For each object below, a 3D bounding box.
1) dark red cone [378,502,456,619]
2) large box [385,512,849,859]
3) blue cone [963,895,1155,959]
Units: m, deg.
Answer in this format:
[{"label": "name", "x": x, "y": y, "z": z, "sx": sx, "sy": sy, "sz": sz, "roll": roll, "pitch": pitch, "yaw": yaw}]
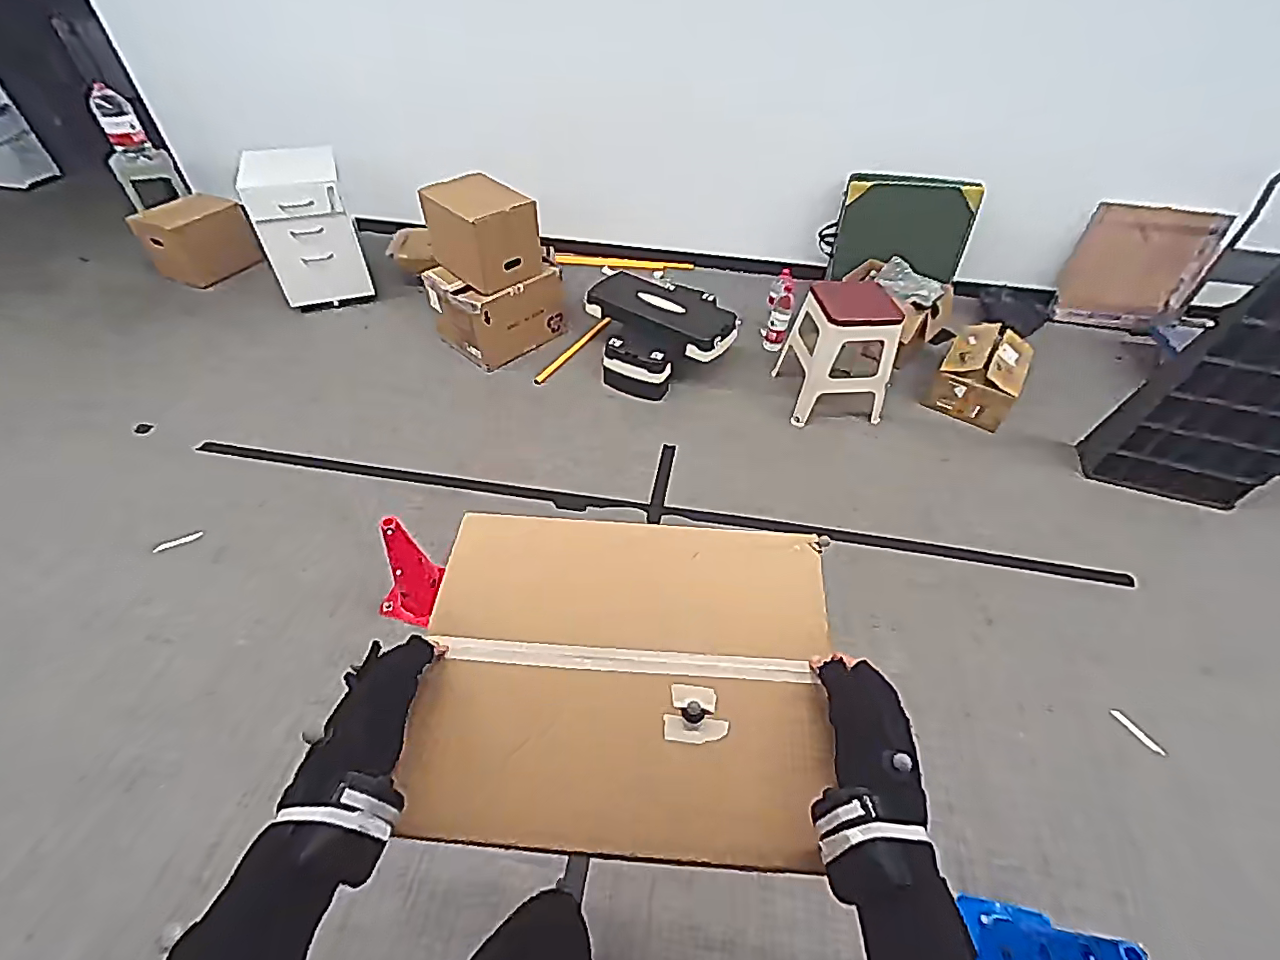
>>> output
[{"label": "dark red cone", "x": -0.650, "y": 0.203, "z": 1.516, "sx": 0.201, "sy": 0.394, "sz": 0.202, "roll": 14, "pitch": 48, "yaw": 9}, {"label": "large box", "x": -0.015, "y": 0.259, "z": 0.661, "sx": 0.408, "sy": 0.320, "sz": 0.320, "roll": 4, "pitch": 55, "yaw": 2}, {"label": "blue cone", "x": 0.787, "y": 0.884, "z": 1.004, "sx": 0.192, "sy": 0.380, "sz": 0.193, "roll": 12, "pitch": 48, "yaw": 7}]
